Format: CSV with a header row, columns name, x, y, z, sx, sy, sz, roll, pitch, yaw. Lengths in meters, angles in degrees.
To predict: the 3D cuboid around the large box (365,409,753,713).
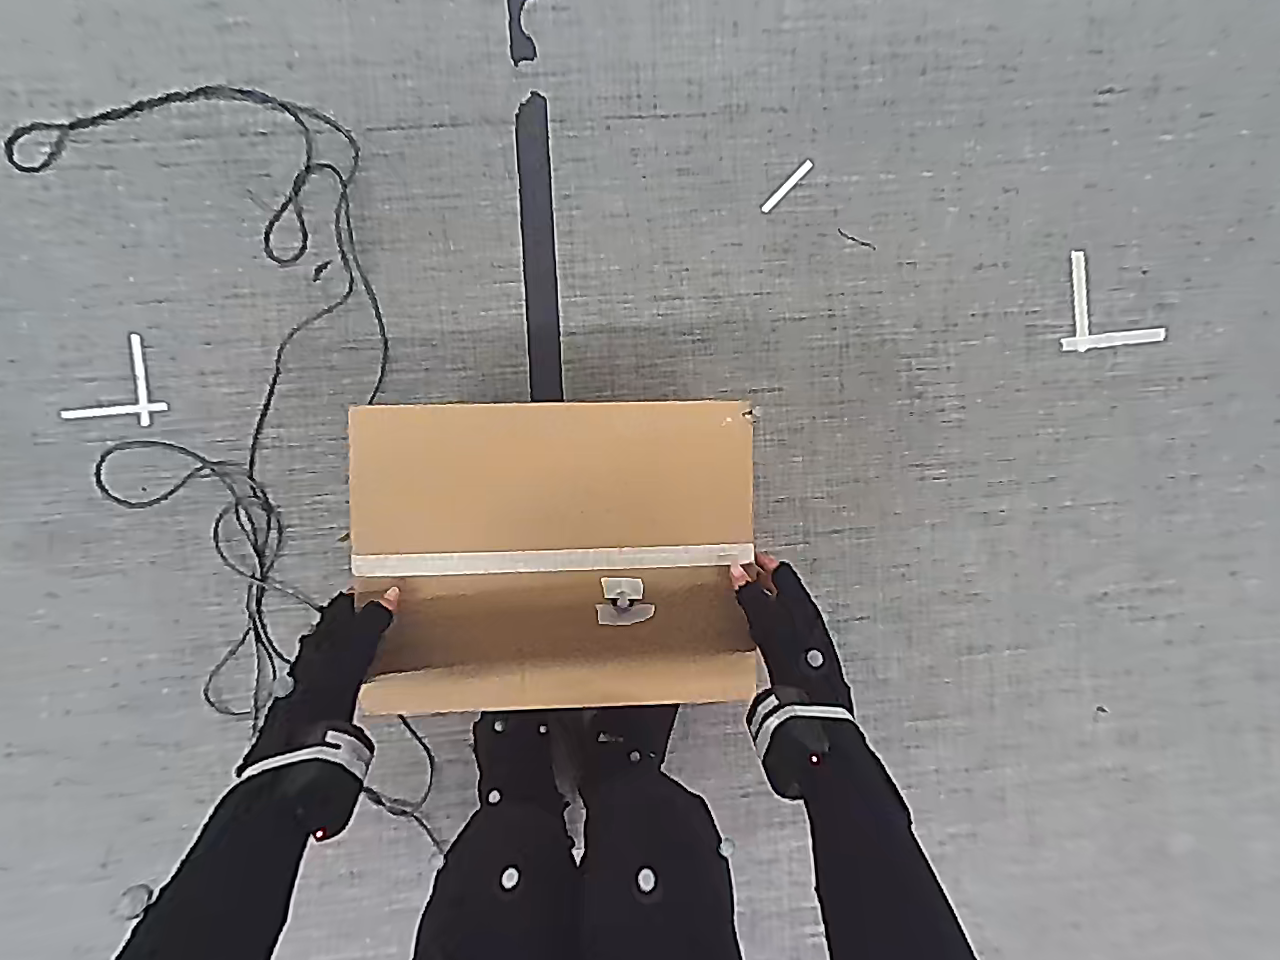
name,x,y,z,sx,sy,sz,roll,pitch,yaw
large box,-0.090,0.081,0.717,0.408,0.320,0.320,-1,93,-3
